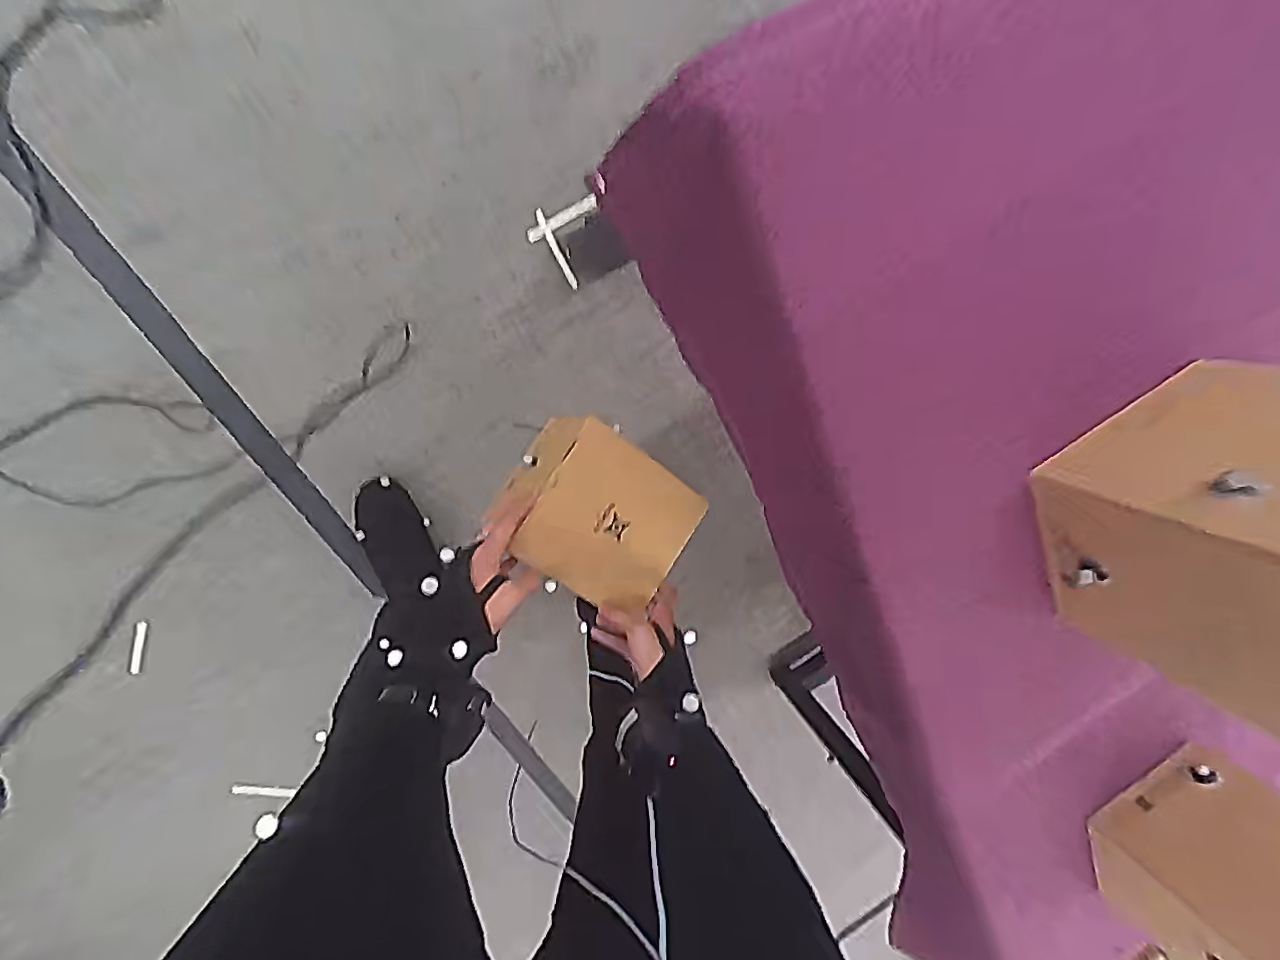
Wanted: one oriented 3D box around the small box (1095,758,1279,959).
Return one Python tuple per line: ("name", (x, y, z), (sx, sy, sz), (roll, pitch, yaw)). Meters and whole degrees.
("small box", (0.639, 0.439, 0.584), (0.168, 0.176, 0.179), (-31, 115, -5))
